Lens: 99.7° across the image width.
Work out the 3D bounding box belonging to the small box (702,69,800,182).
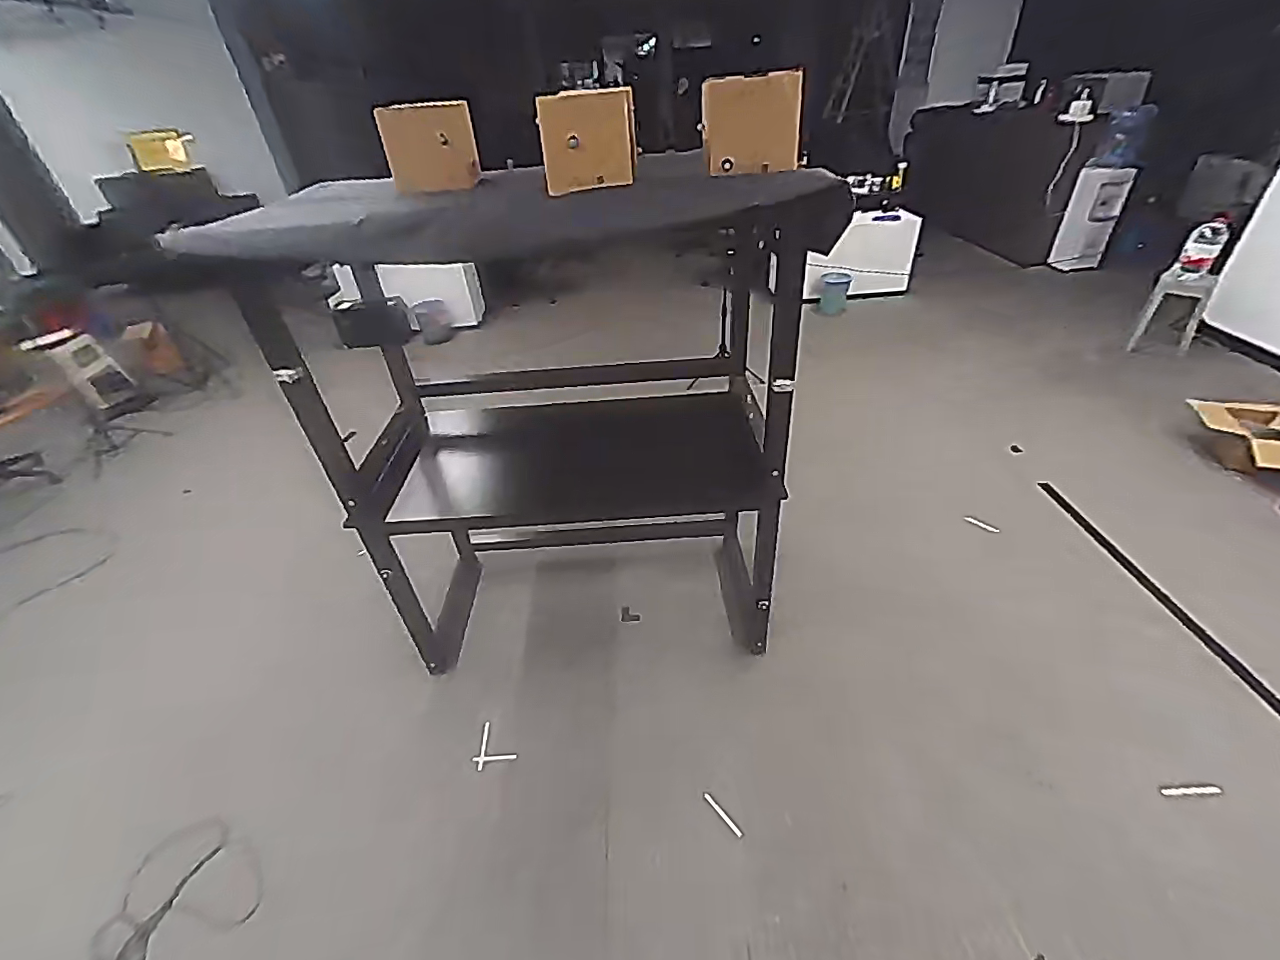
[{"bbox_3d":[0.213,-0.692,1.069,0.168,0.176,0.179,-3,33,3],"label":"small box"}]

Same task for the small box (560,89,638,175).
[{"bbox_3d":[-0.093,-0.833,1.304,0.168,0.176,0.179,-4,36,1],"label":"small box"}]

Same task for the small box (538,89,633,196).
[{"bbox_3d":[-0.102,-0.682,1.099,0.168,0.176,0.179,-4,34,1],"label":"small box"}]
